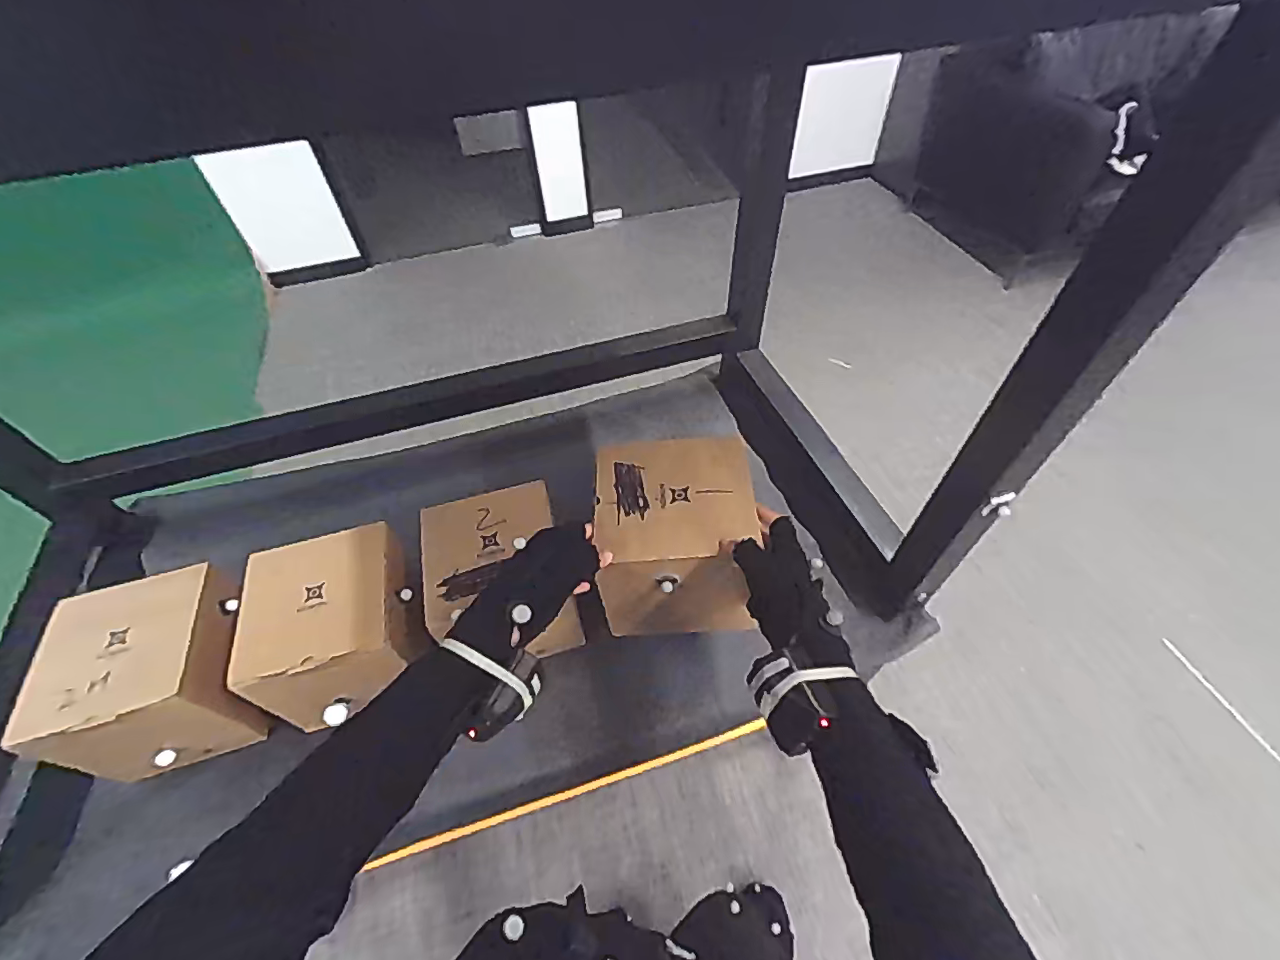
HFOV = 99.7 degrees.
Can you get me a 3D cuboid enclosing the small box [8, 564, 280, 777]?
[{"bbox_3d":[-0.580,0.236,0.669,0.168,0.176,0.179,-14,51,-10],"label":"small box"}]
